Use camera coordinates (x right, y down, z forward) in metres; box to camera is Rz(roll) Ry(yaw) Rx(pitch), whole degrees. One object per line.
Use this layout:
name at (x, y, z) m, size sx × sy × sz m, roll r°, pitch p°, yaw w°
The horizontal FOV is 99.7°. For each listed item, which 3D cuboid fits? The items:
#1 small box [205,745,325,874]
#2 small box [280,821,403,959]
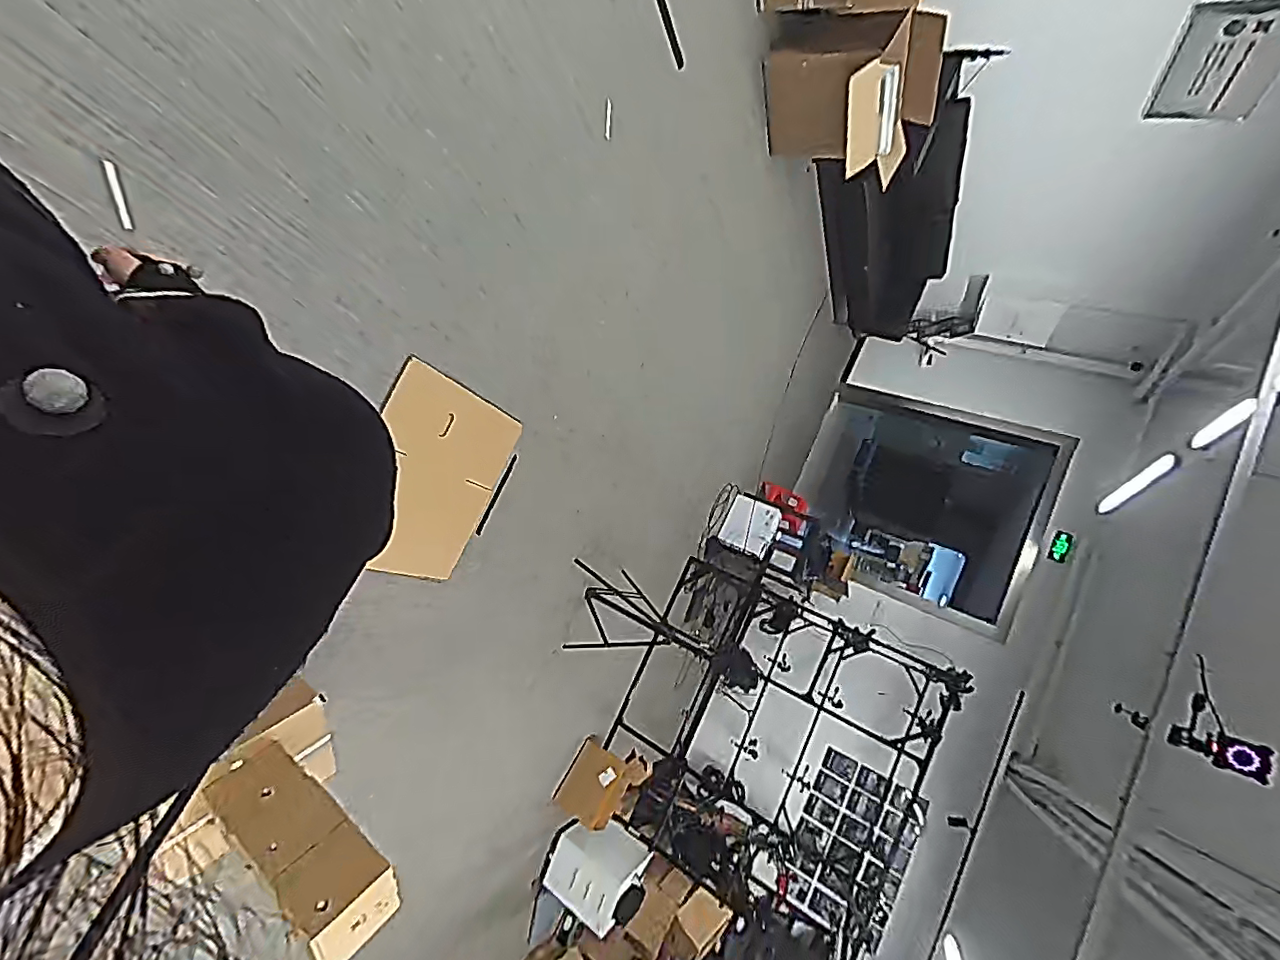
small box at (-0.924, 0.803, 1.339) m, size 0.179 × 0.176 × 0.168 m, roll -30°, pitch 133°, yaw -47°
small box at (-0.653, 0.906, 1.181) m, size 0.179 × 0.176 × 0.168 m, roll -30°, pitch 134°, yaw -49°
